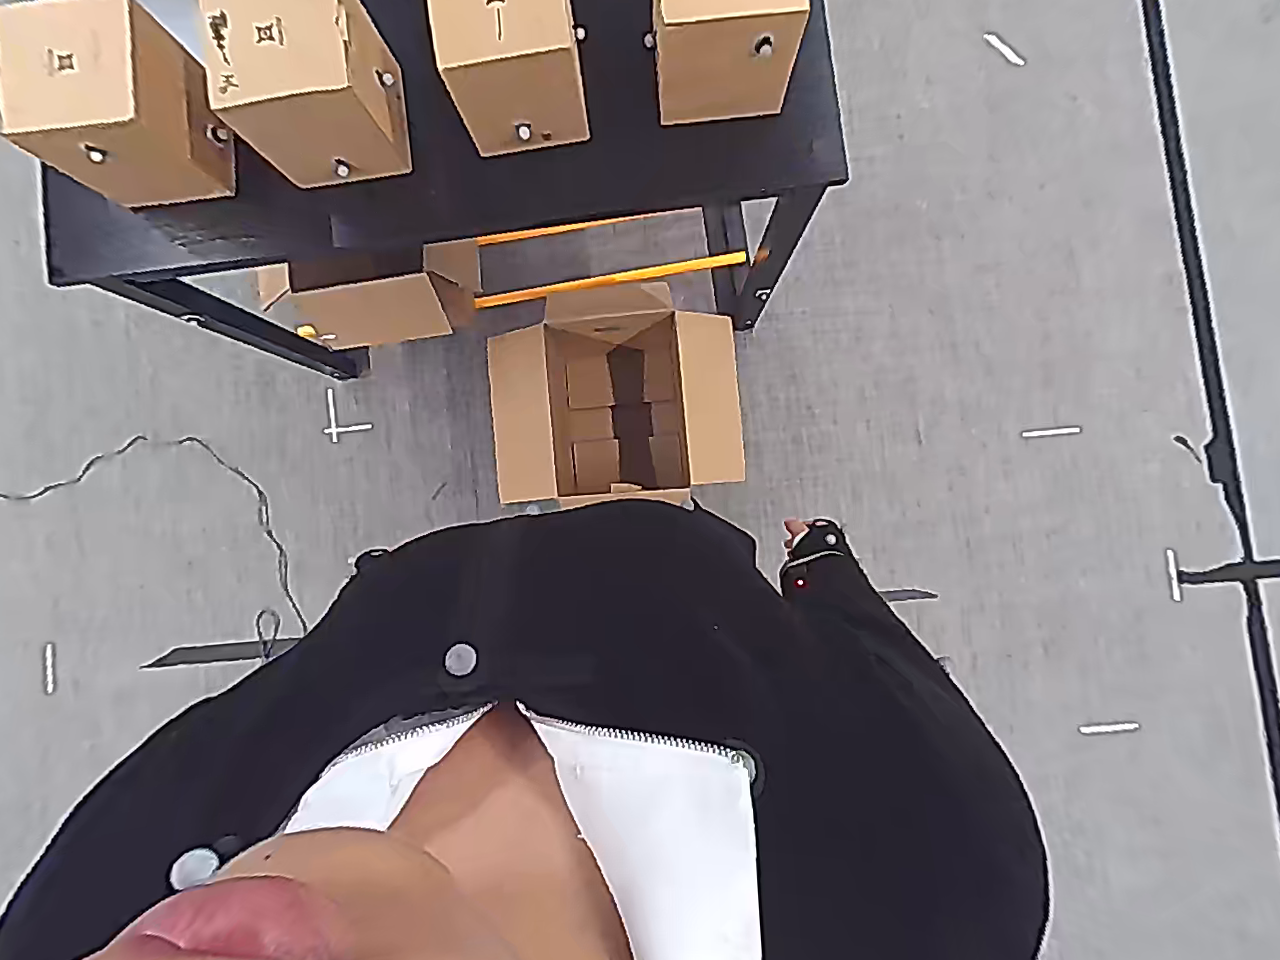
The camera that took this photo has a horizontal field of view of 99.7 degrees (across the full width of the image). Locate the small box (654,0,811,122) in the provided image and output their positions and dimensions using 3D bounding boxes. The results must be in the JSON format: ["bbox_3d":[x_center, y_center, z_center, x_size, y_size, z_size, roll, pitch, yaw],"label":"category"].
[{"bbox_3d":[0.110,-0.609,0.711,0.179,0.176,0.168,-4,86,2],"label":"small box"}]

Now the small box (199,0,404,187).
[{"bbox_3d":[-0.435,-0.527,0.726,0.179,0.176,0.168,-8,87,0],"label":"small box"}]

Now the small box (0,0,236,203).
[{"bbox_3d":[-0.697,-0.499,0.731,0.179,0.176,0.168,-6,88,0],"label":"small box"}]

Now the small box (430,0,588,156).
[{"bbox_3d":[-0.168,-0.576,0.719,0.168,0.176,0.179,-8,88,1],"label":"small box"}]
